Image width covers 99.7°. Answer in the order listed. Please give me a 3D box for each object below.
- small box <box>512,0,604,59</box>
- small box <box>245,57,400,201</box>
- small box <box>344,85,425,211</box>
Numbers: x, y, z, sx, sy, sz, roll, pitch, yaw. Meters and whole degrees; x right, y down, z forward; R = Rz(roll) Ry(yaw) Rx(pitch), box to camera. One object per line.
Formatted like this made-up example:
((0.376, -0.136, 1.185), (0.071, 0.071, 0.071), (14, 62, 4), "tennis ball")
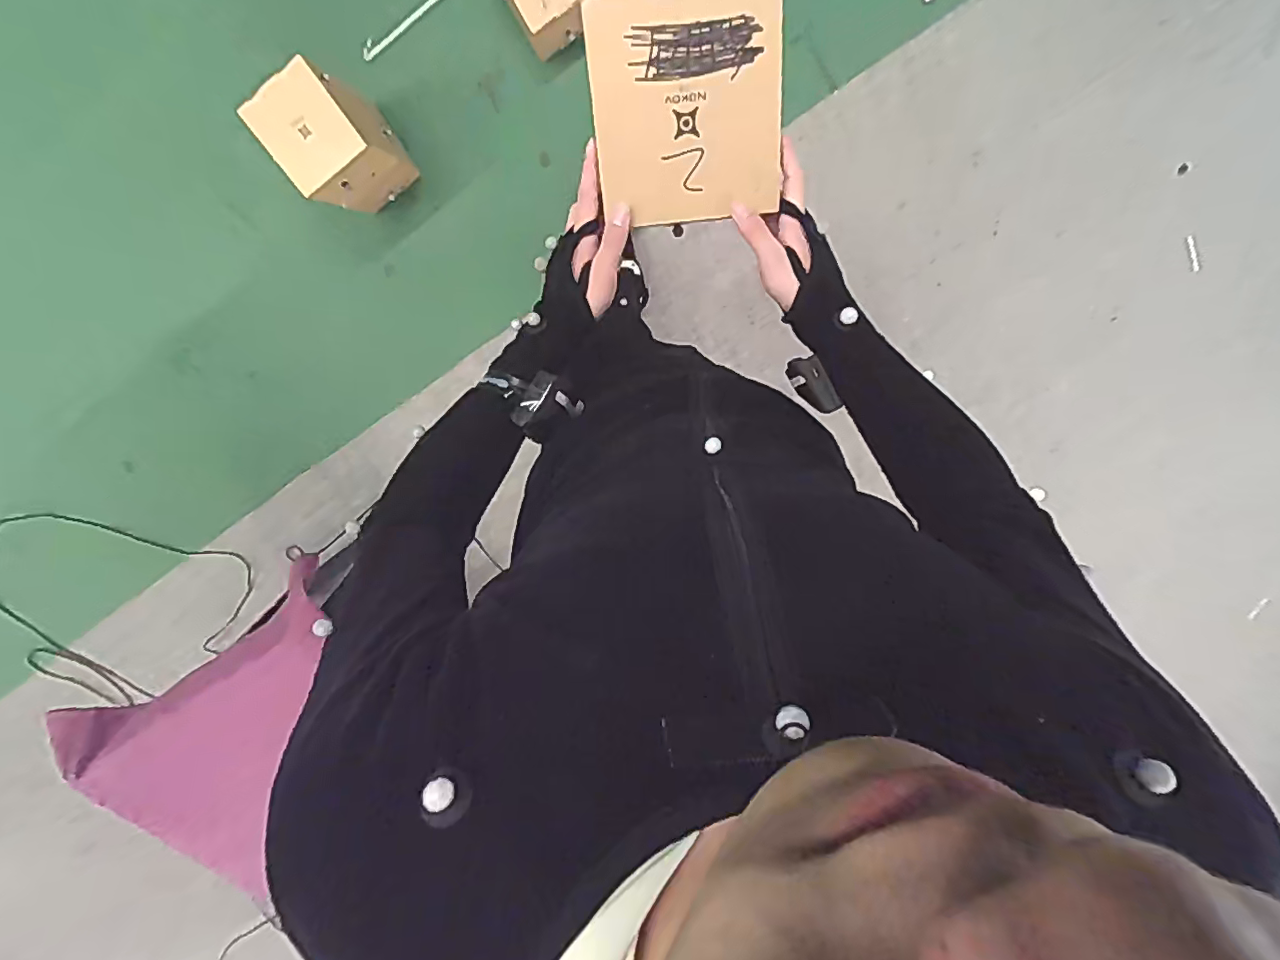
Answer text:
((-0.189, -1.054, 1.147), (0.168, 0.176, 0.179), (-30, 110, 9), "small box")
((-0.627, -0.693, 1.096), (0.168, 0.176, 0.179), (-32, 108, 11), "small box")
((-0.635, -0.751, 1.247), (0.168, 0.176, 0.179), (-32, 110, 10), "small box")
